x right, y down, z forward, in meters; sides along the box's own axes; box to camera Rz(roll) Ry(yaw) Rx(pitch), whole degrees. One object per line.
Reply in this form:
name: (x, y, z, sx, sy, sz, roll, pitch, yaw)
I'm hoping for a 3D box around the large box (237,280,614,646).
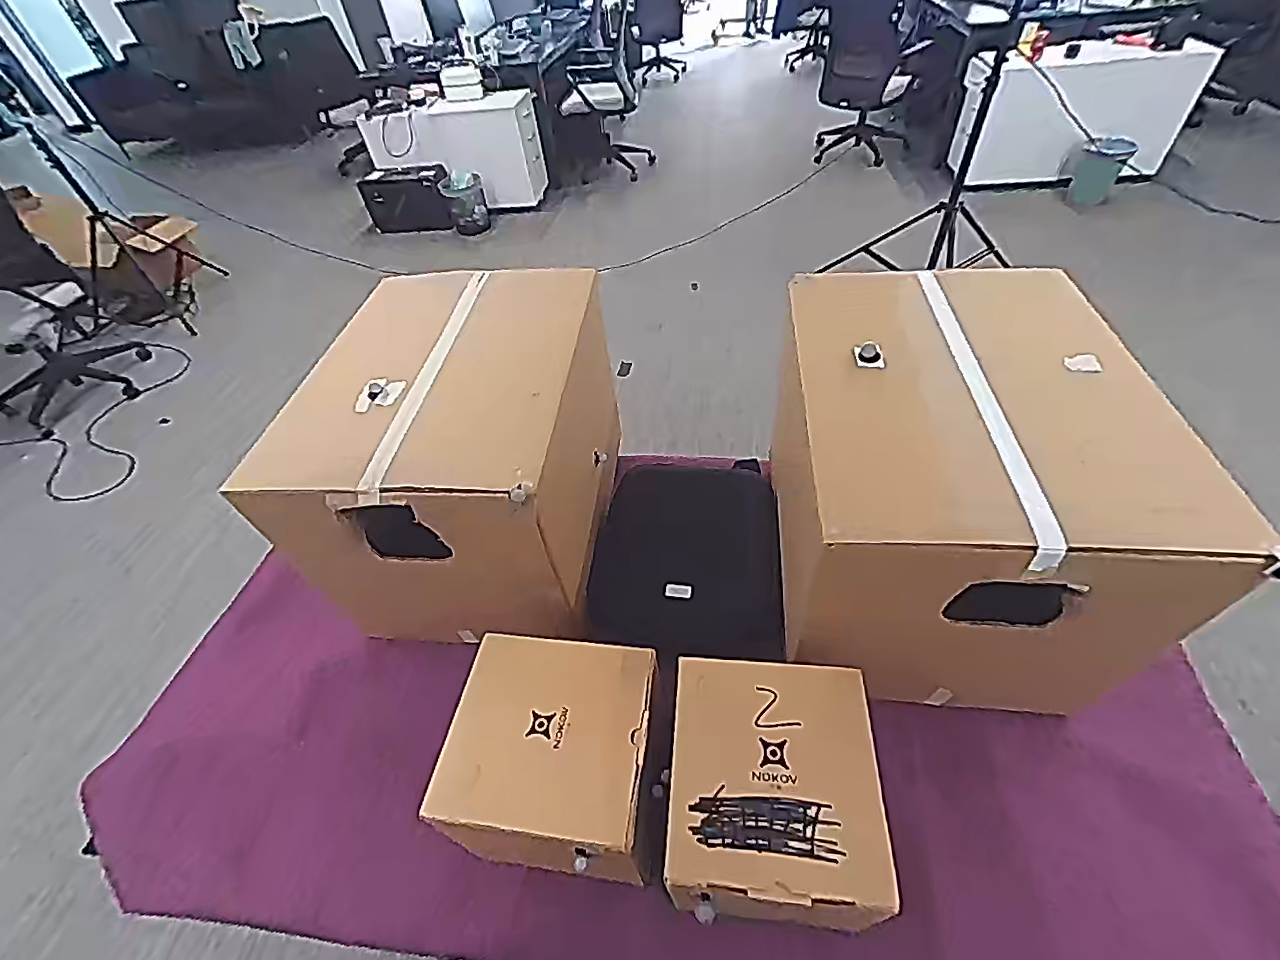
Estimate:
large box: (-0.215, -0.028, 0.741, 0.320, 0.320, 0.408, -1, 49, 7)
